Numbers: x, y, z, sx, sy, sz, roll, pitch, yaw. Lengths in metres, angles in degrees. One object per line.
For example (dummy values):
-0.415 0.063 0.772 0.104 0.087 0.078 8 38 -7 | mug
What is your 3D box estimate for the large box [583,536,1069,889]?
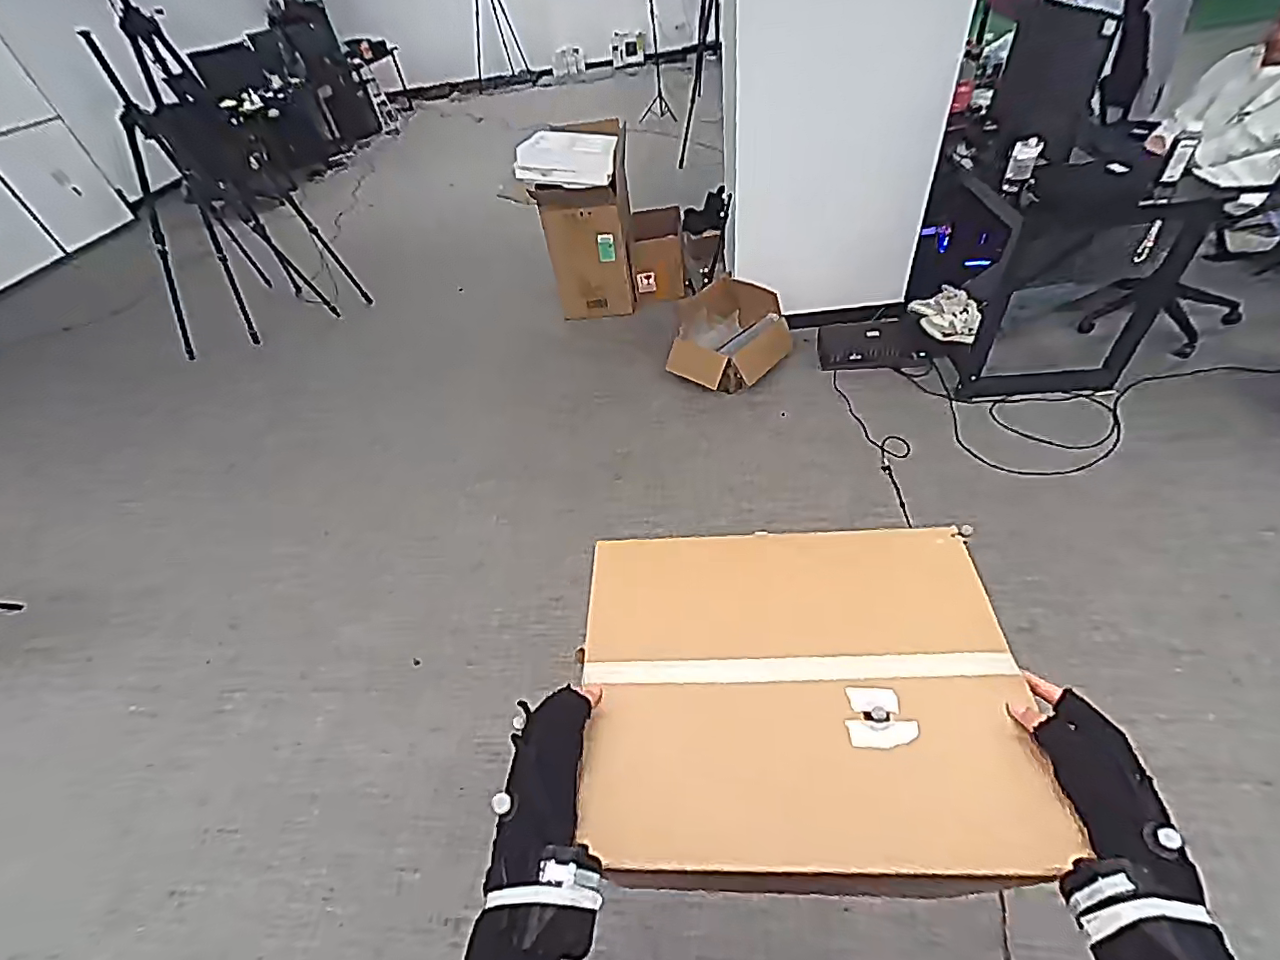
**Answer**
0.160 0.288 0.651 0.408 0.320 0.320 -3 51 5 | large box
